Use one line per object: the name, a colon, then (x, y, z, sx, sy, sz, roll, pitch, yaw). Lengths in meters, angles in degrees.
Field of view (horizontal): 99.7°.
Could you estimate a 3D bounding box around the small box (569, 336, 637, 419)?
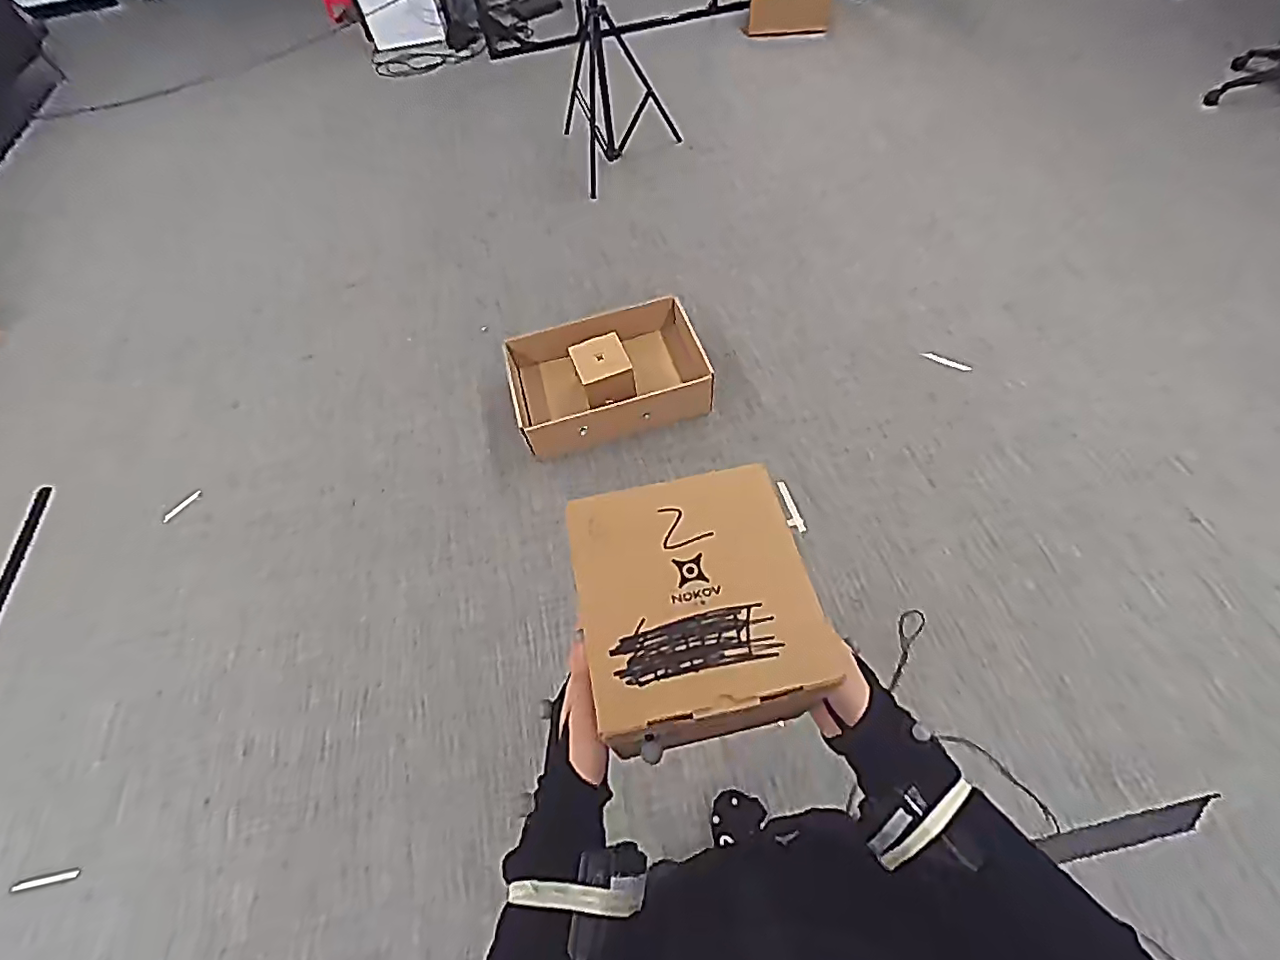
small box: (-0.119, -0.333, 1.773, 0.168, 0.176, 0.179, -21, 60, -6)
